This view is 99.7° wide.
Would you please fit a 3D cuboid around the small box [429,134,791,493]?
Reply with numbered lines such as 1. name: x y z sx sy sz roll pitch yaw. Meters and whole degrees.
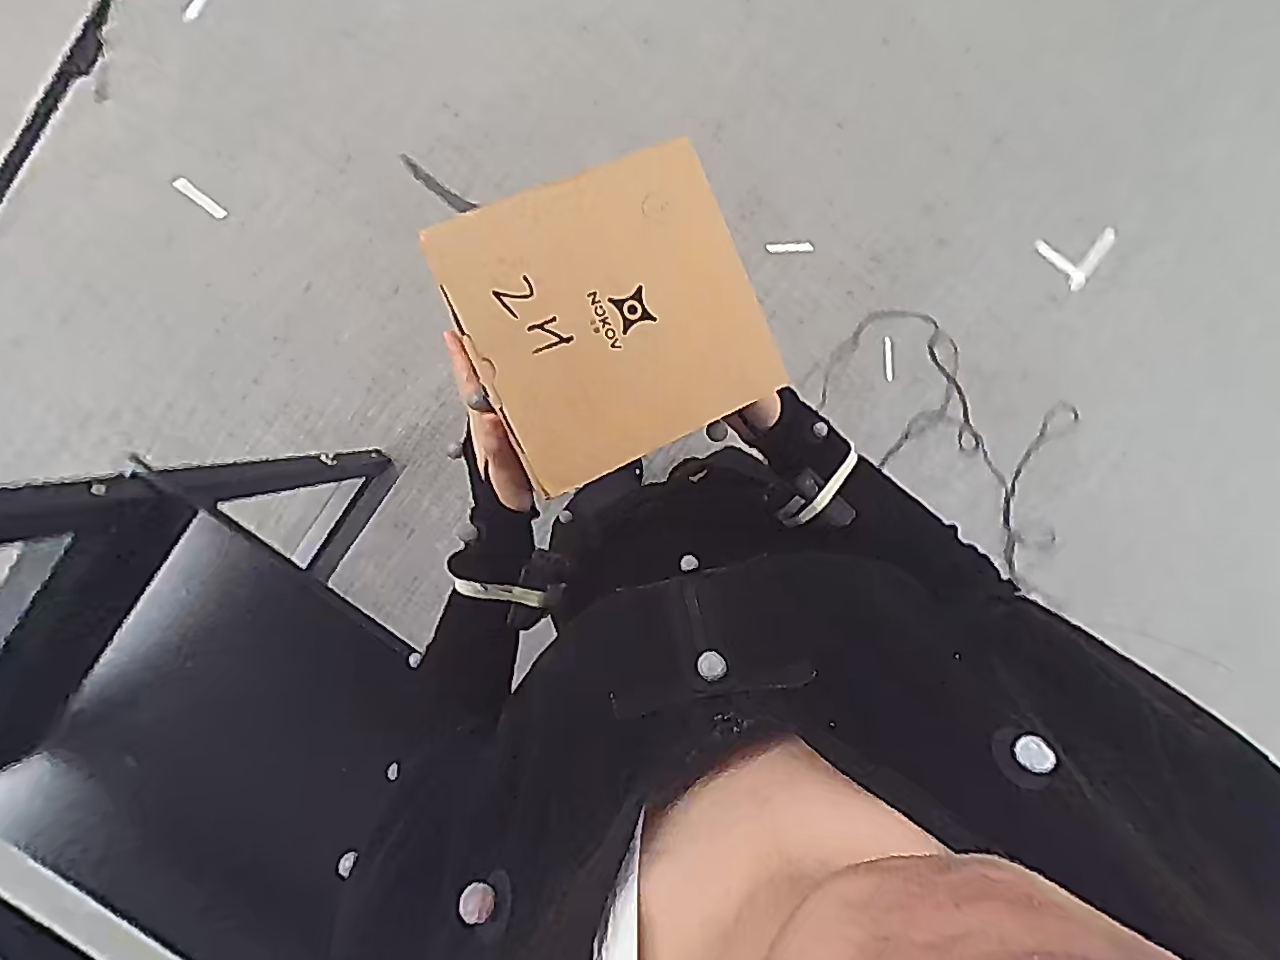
1. small box: -0.028 -0.104 0.395 0.179 0.176 0.168 -24 98 -11
